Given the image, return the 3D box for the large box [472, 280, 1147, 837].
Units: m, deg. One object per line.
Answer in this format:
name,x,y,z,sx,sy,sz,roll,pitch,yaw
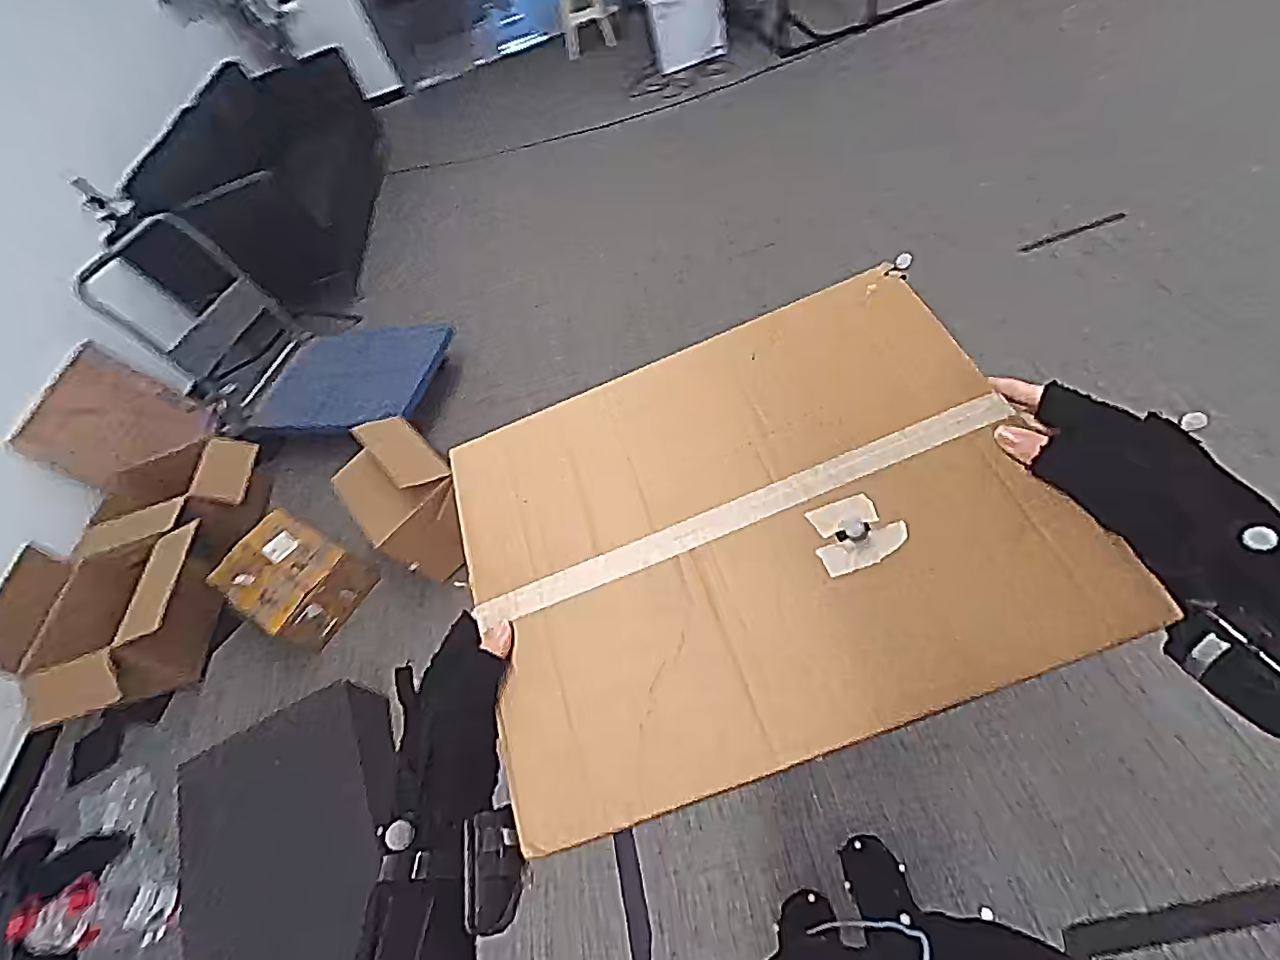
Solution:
large box,0.109,0.091,0.532,0.408,0.320,0.320,-22,62,3
